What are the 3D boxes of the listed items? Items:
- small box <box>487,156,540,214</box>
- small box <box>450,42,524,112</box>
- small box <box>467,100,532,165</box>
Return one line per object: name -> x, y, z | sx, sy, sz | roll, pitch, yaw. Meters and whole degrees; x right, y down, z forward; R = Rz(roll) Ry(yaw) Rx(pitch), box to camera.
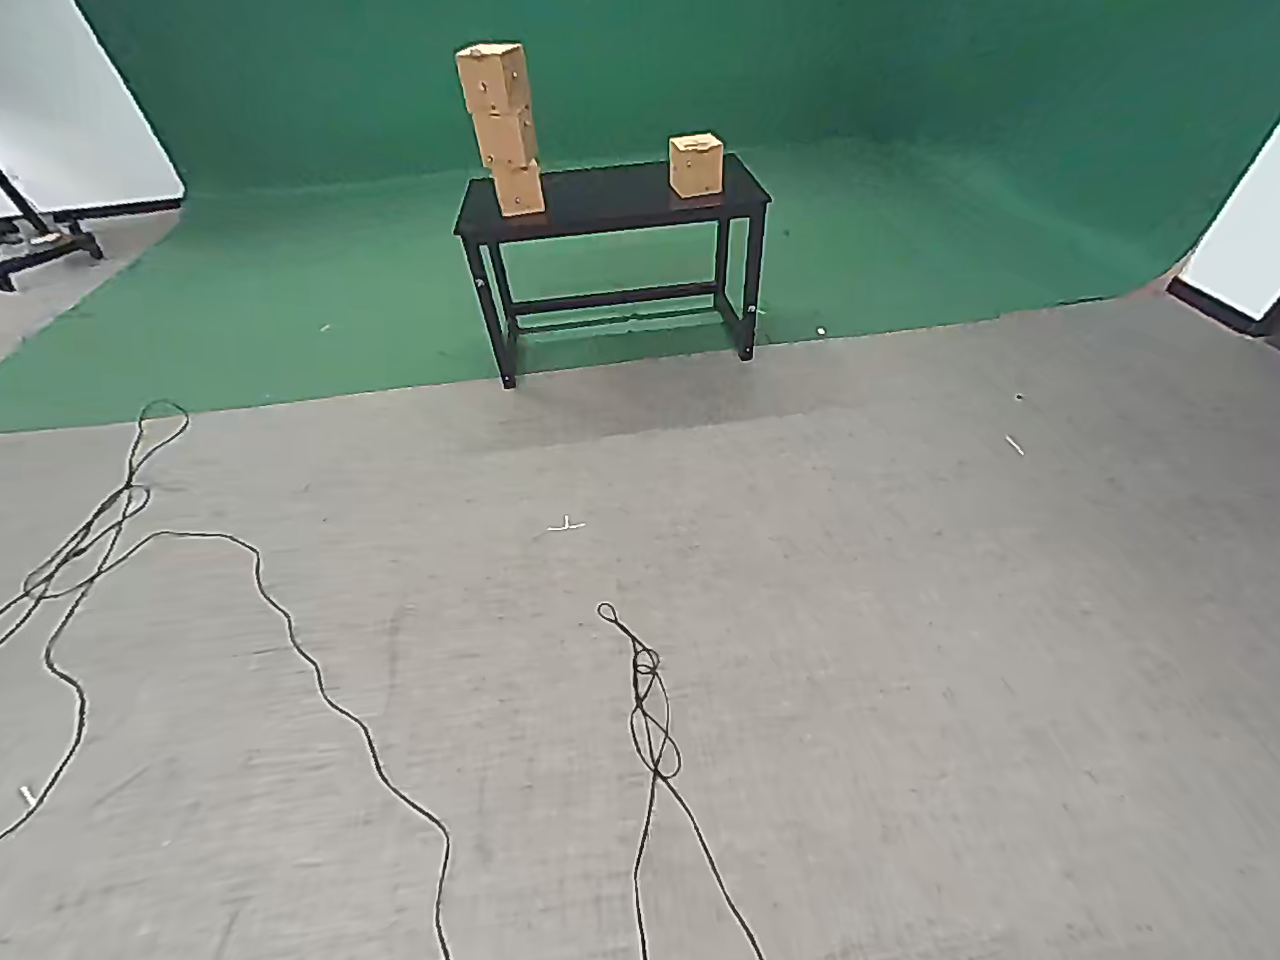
small box -> -0.491, -1.148, 2.087 | 0.168, 0.176, 0.179 | -13, 47, -9
small box -> -0.515, -1.380, 1.855 | 0.168, 0.176, 0.179 | 11, 49, 13
small box -> -0.503, -1.262, 1.969 | 0.168, 0.176, 0.179 | 2, 46, 6
